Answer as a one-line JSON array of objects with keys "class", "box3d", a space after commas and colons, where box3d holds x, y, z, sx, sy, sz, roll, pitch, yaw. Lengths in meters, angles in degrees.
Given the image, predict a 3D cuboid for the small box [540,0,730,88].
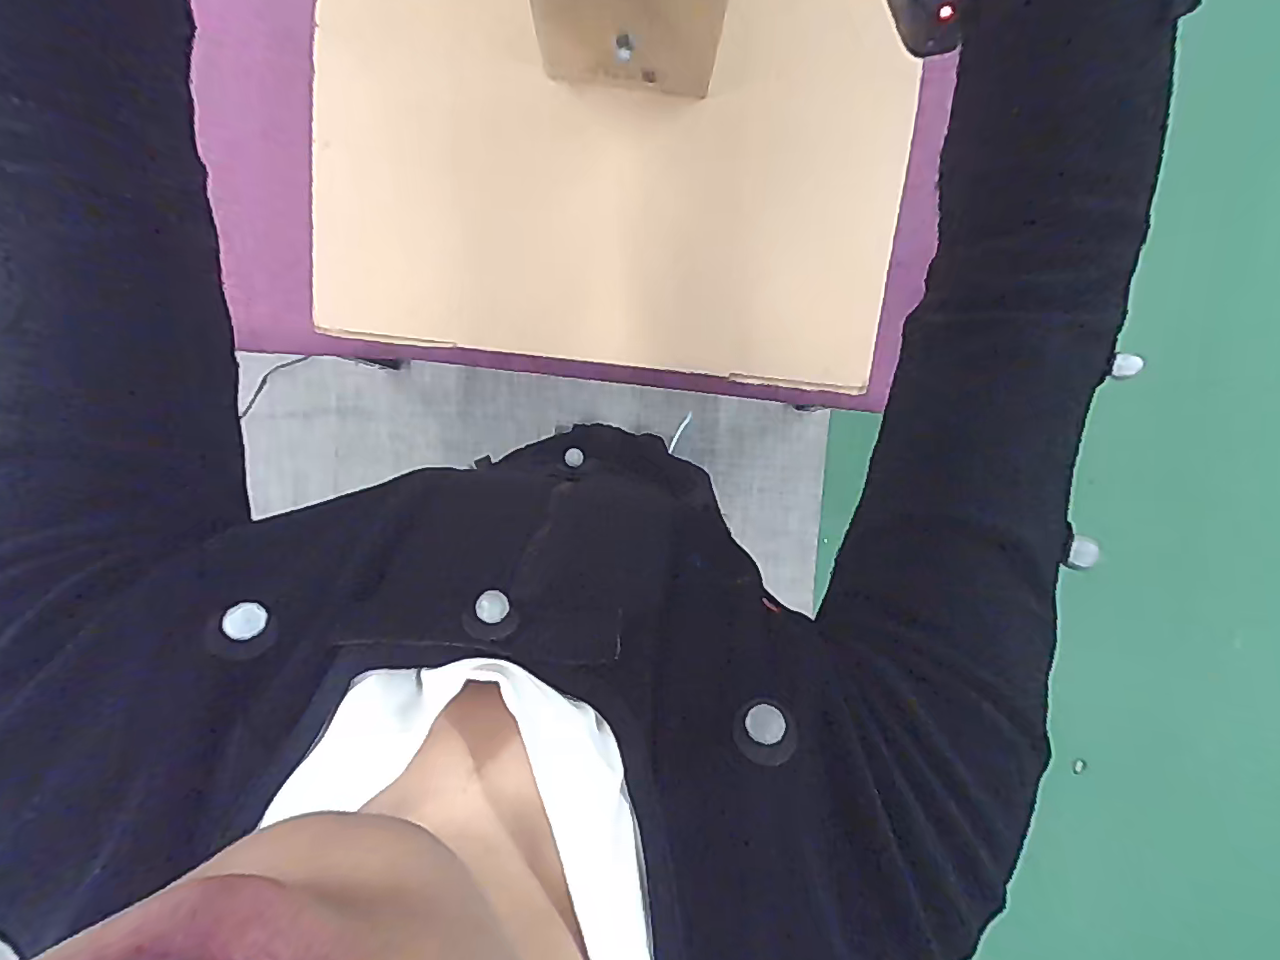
[{"class": "small box", "box3d": [0.001, -0.481, 0.452, 0.168, 0.176, 0.179, 7, 93, -2]}]
